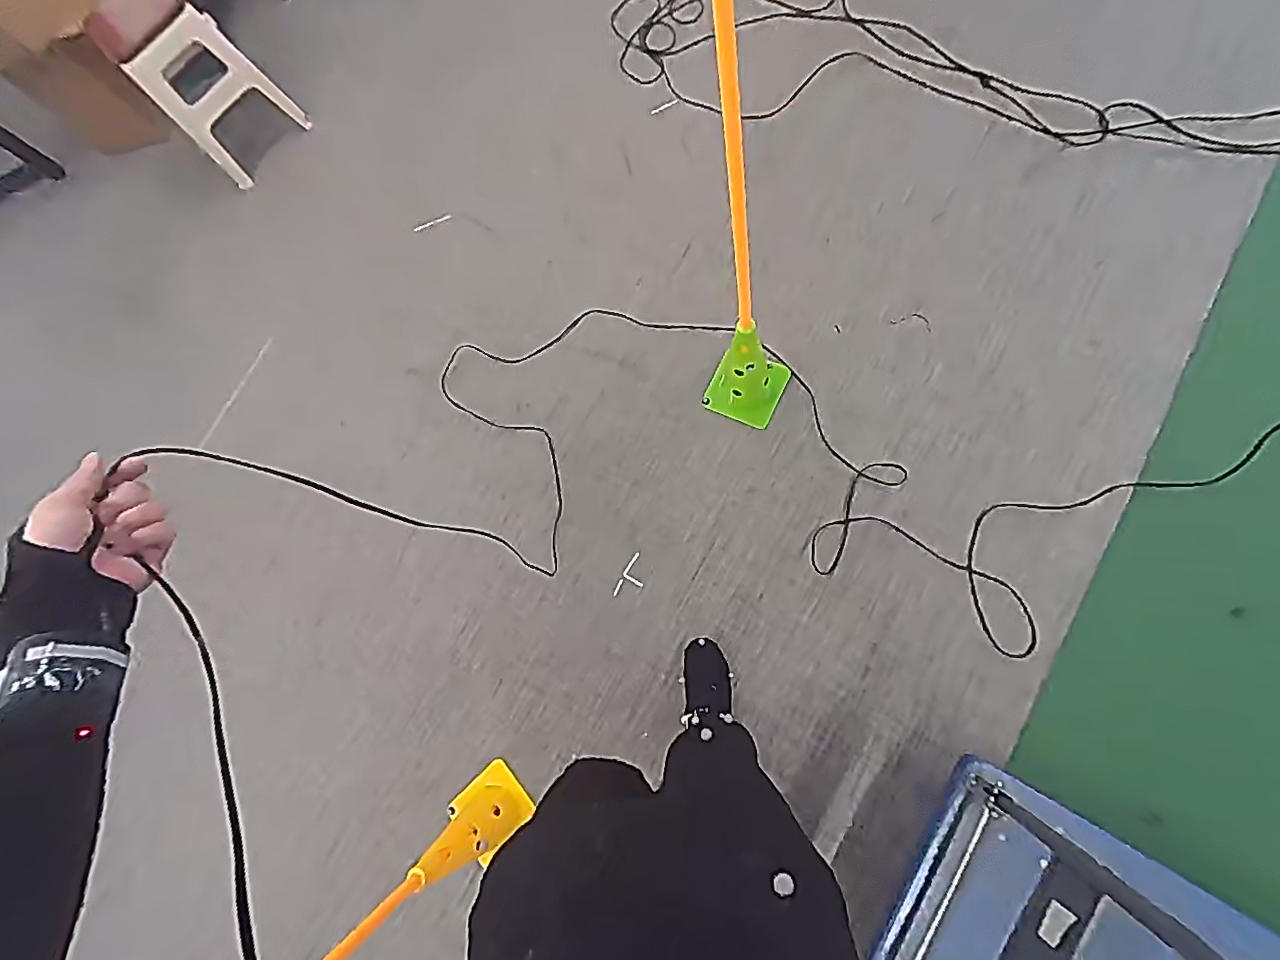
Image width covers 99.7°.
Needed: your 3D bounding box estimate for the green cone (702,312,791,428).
[{"bbox_3d":[0.271,-0.304,1.361,0.200,0.368,0.202,24,81,15],"label":"green cone"}]
